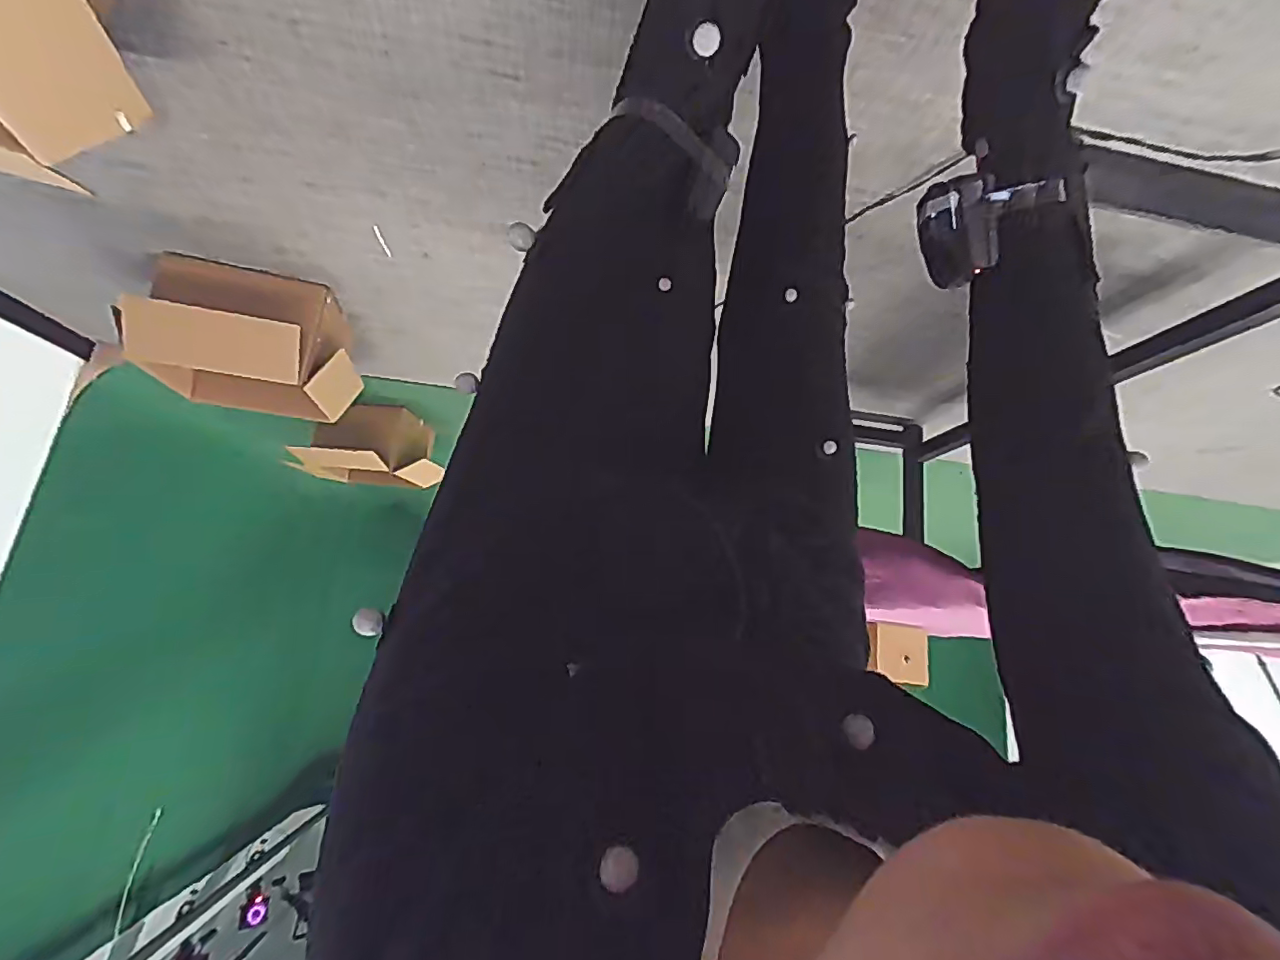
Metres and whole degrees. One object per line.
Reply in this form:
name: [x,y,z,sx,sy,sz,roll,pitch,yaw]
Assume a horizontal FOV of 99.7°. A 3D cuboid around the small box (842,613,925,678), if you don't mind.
small box: [0.750,0.508,1.670,0.179,0.176,0.168,9,165,-12]
